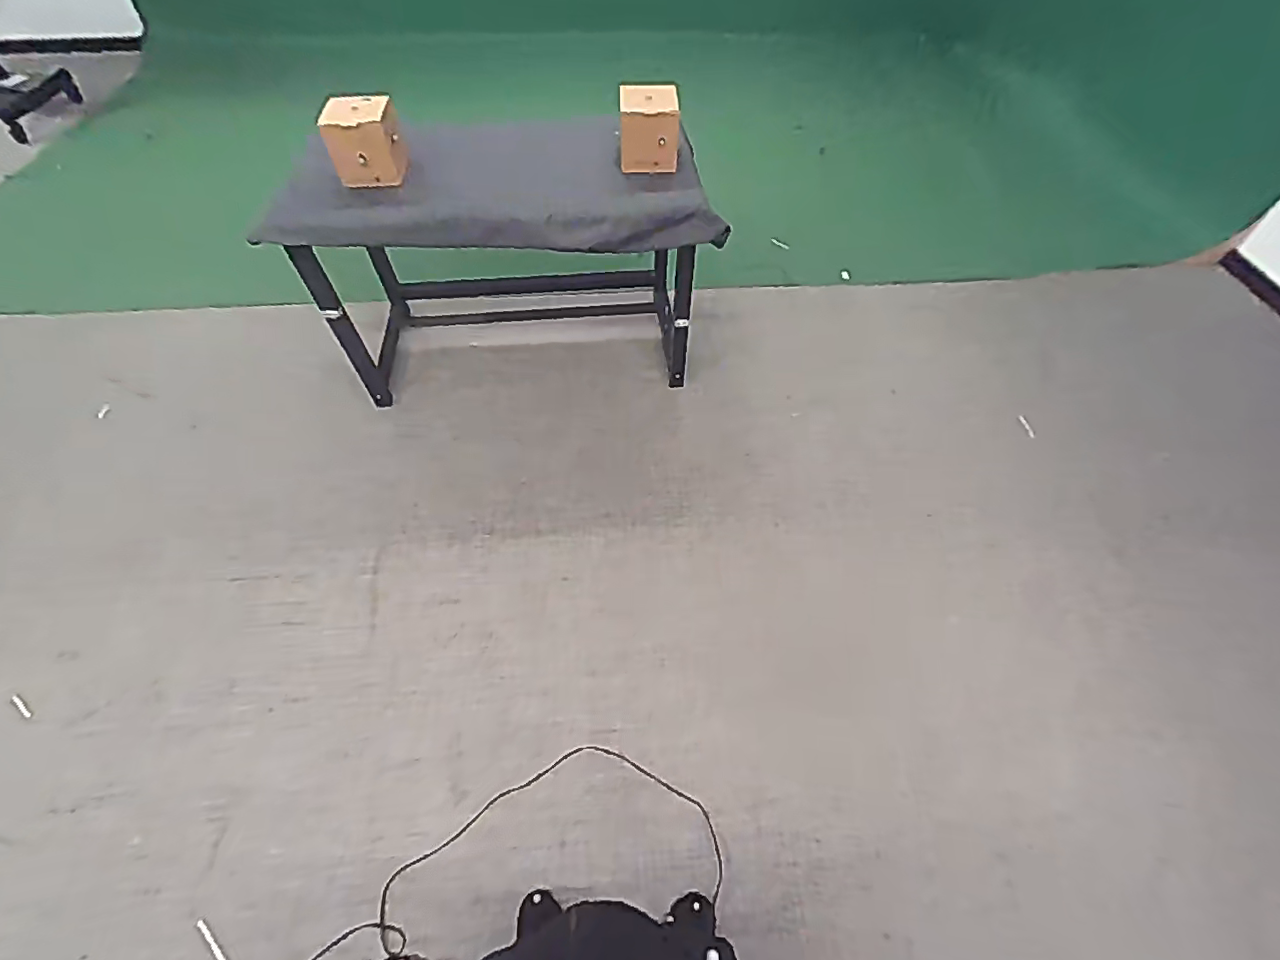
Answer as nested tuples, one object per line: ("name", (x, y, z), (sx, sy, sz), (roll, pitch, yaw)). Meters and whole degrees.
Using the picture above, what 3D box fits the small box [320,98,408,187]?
("small box", (-0.781, -0.963, 1.551), (0.168, 0.176, 0.179), (-5, 56, -5))

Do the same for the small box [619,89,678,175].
("small box", (0.022, -1.032, 1.607), (0.168, 0.176, 0.179), (-1, 55, -3))
